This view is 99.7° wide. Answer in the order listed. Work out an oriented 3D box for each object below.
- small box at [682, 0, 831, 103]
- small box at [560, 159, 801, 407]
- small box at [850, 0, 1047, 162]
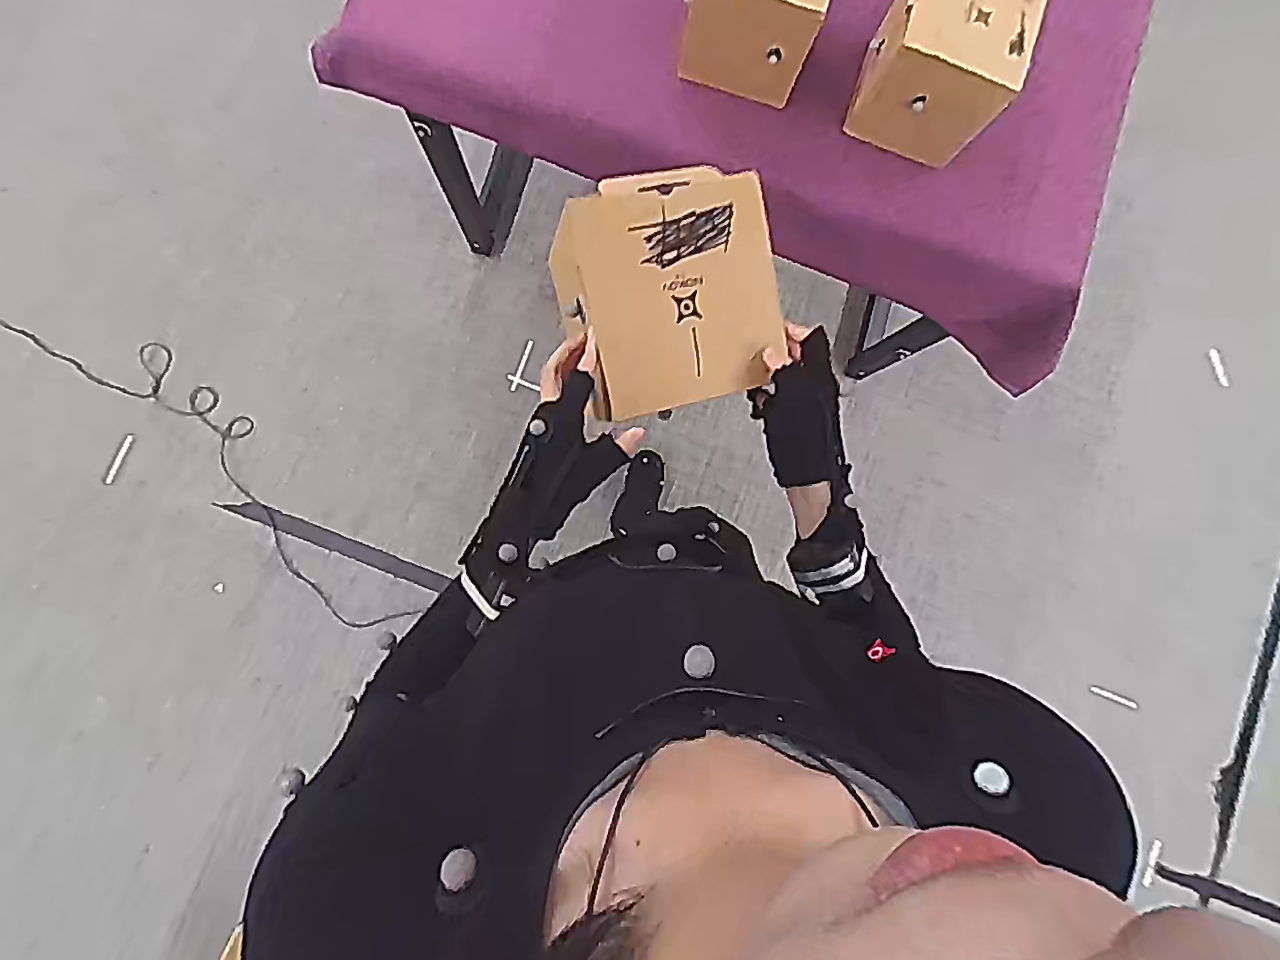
[{"bbox_3d":[0.170,-0.690,0.775,0.179,0.176,0.168,14,84,-3],"label":"small box"},{"bbox_3d":[0.027,-0.171,0.519,0.168,0.176,0.179,-15,101,-11],"label":"small box"},{"bbox_3d":[0.438,-0.609,0.790,0.179,0.176,0.168,18,85,-2],"label":"small box"}]
